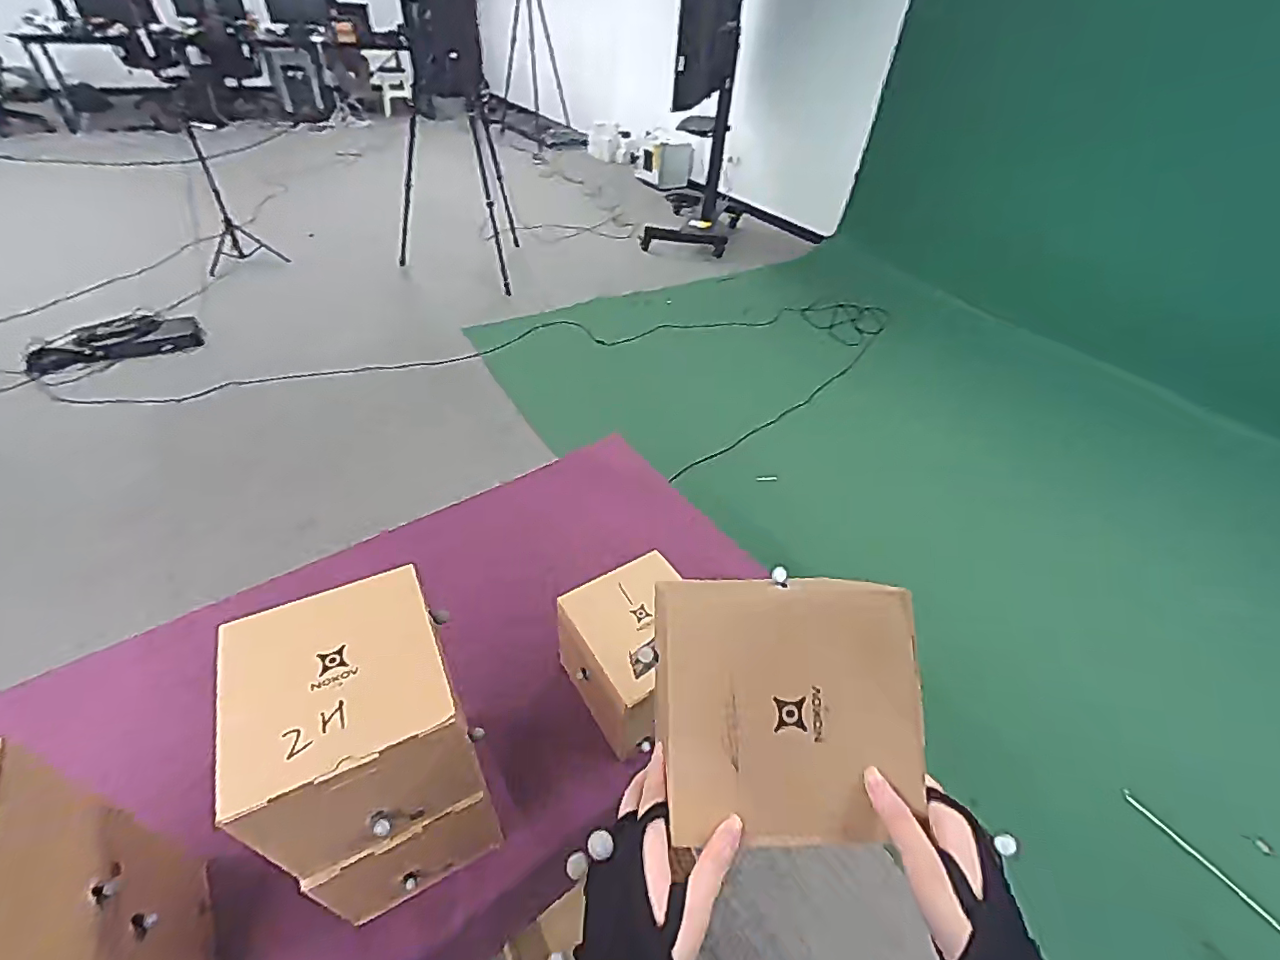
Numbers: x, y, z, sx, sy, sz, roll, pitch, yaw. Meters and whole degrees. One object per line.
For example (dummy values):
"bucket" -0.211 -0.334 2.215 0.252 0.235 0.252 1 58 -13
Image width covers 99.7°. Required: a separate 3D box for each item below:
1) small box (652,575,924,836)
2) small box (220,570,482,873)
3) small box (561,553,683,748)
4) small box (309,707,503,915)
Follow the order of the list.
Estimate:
"small box" 0.102 0.166 0.450 0.179 0.176 0.168 0 81 -1
"small box" -0.259 0.222 0.510 0.168 0.176 0.179 -17 47 -22
"small box" 0.004 0.241 0.753 0.168 0.176 0.179 -22 49 -26
"small box" -0.267 0.347 0.618 0.168 0.176 0.179 -19 49 -23
